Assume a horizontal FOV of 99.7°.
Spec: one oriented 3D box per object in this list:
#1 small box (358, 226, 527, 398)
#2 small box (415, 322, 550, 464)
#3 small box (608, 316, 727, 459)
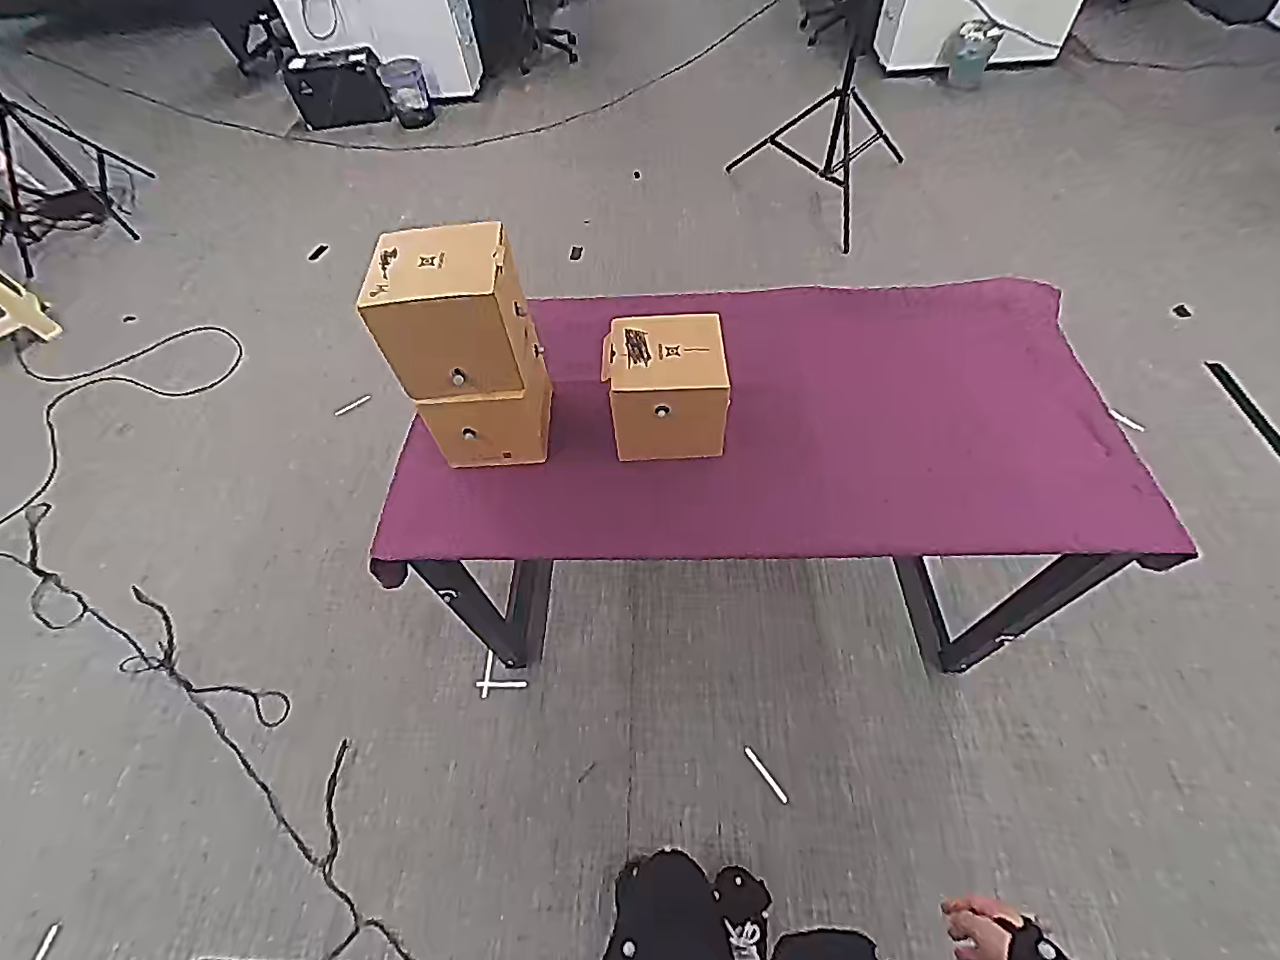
[{"bbox_3d":[-0.265,-0.236,0.778,0.179,0.176,0.168,-5,55,0],"label":"small box"},{"bbox_3d":[-0.250,-0.137,0.908,0.168,0.176,0.179,-4,55,2],"label":"small box"},{"bbox_3d":[0.045,-0.147,0.892,0.179,0.176,0.168,-2,55,2],"label":"small box"}]
